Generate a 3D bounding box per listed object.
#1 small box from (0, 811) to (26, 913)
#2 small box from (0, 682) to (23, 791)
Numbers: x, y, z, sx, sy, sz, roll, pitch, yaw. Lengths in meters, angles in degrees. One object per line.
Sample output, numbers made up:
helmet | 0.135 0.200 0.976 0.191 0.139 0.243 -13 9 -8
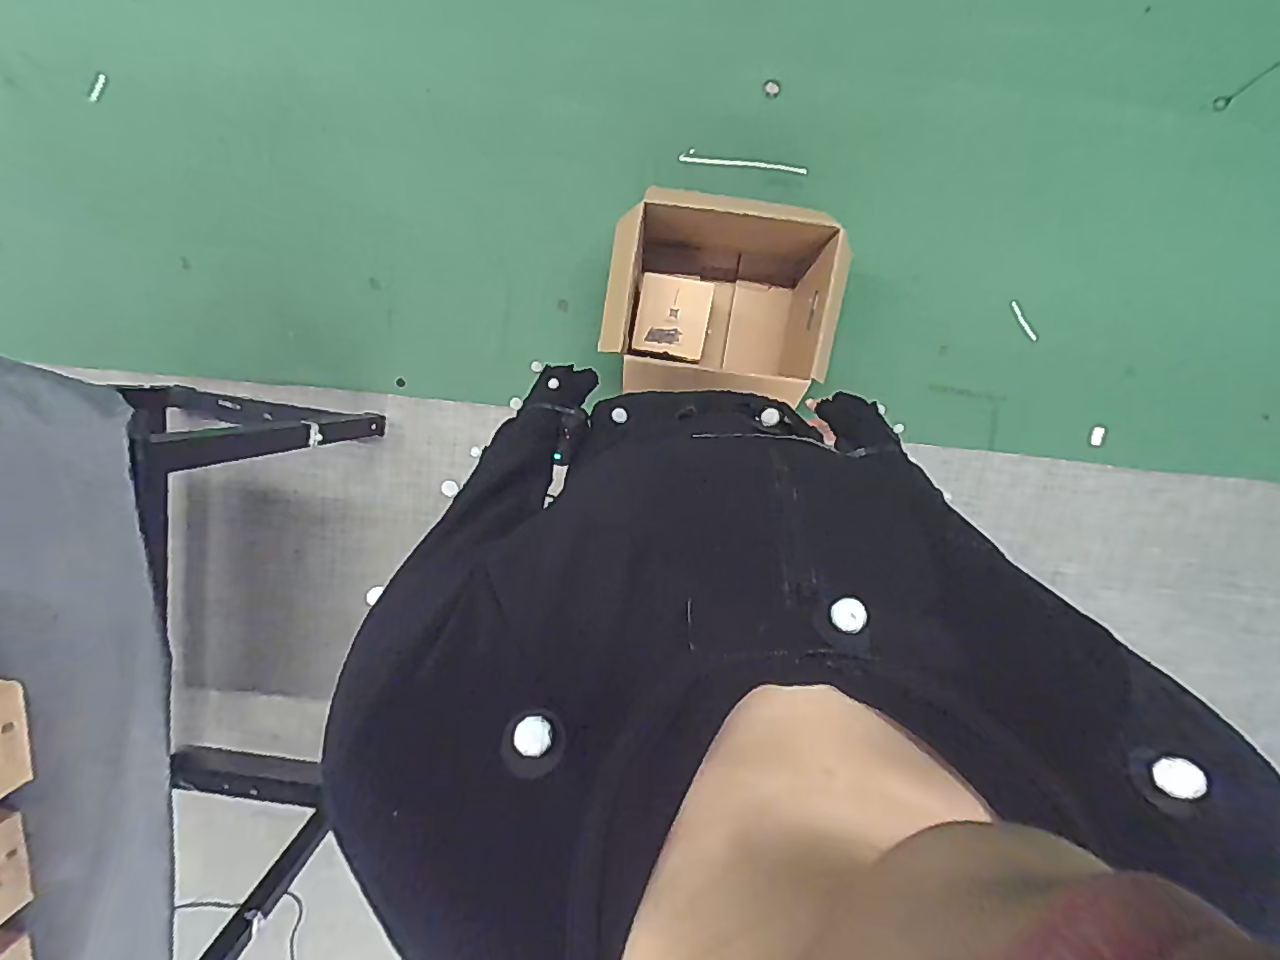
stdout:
small box | -1.066 0.601 0.777 0.179 0.176 0.168 4 100 0
small box | -1.018 0.385 0.742 0.179 0.176 0.168 5 100 1
